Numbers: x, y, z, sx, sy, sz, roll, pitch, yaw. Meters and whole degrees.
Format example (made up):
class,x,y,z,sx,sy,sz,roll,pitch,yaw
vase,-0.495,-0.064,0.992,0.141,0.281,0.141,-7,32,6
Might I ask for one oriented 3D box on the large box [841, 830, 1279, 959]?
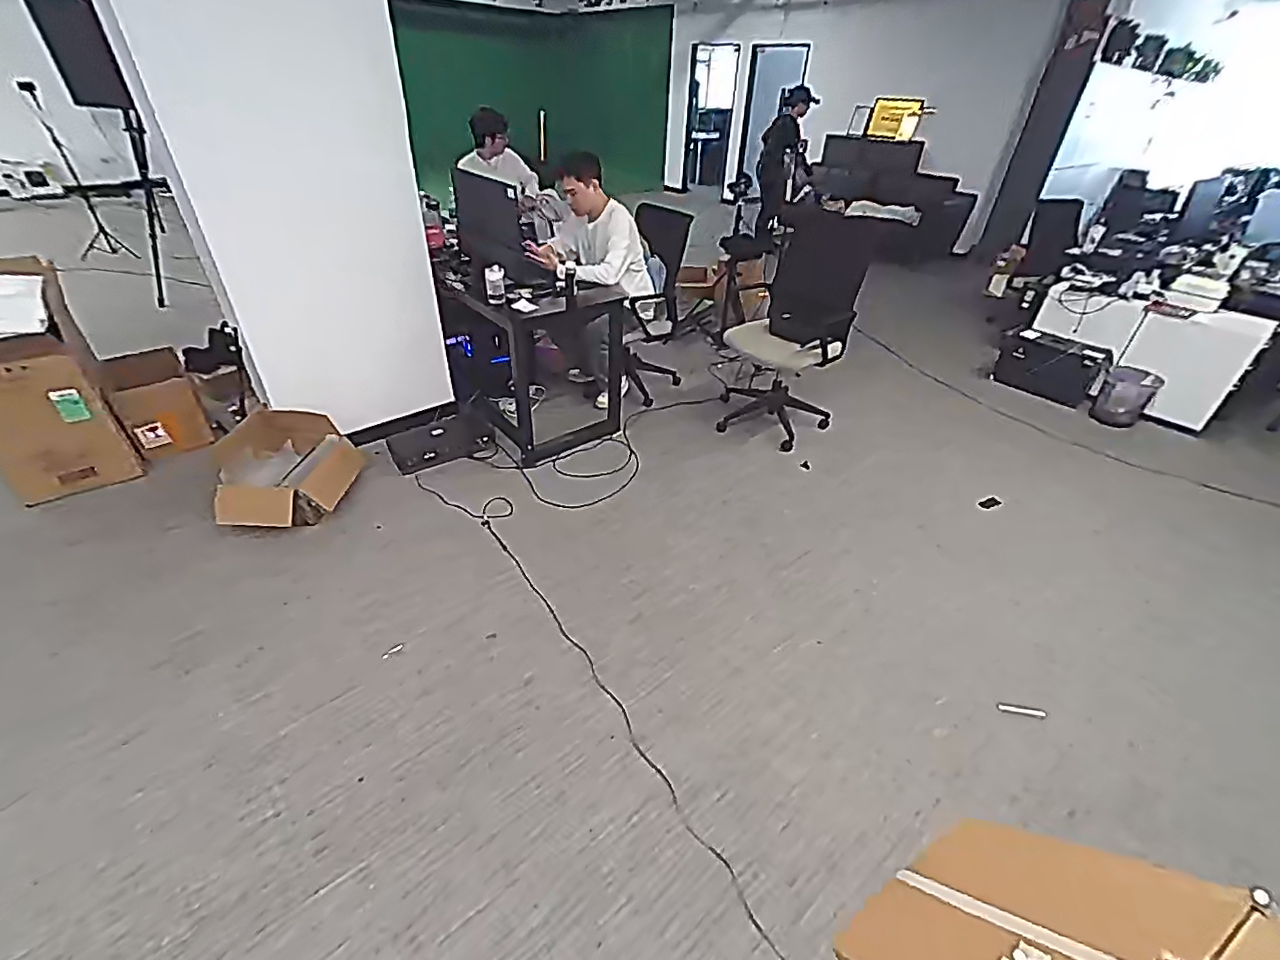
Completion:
class,x,y,z,sx,sy,sz,roll,pitch,yaw
large box,0.534,0.693,0.634,0.320,0.408,0.320,-23,76,-21
